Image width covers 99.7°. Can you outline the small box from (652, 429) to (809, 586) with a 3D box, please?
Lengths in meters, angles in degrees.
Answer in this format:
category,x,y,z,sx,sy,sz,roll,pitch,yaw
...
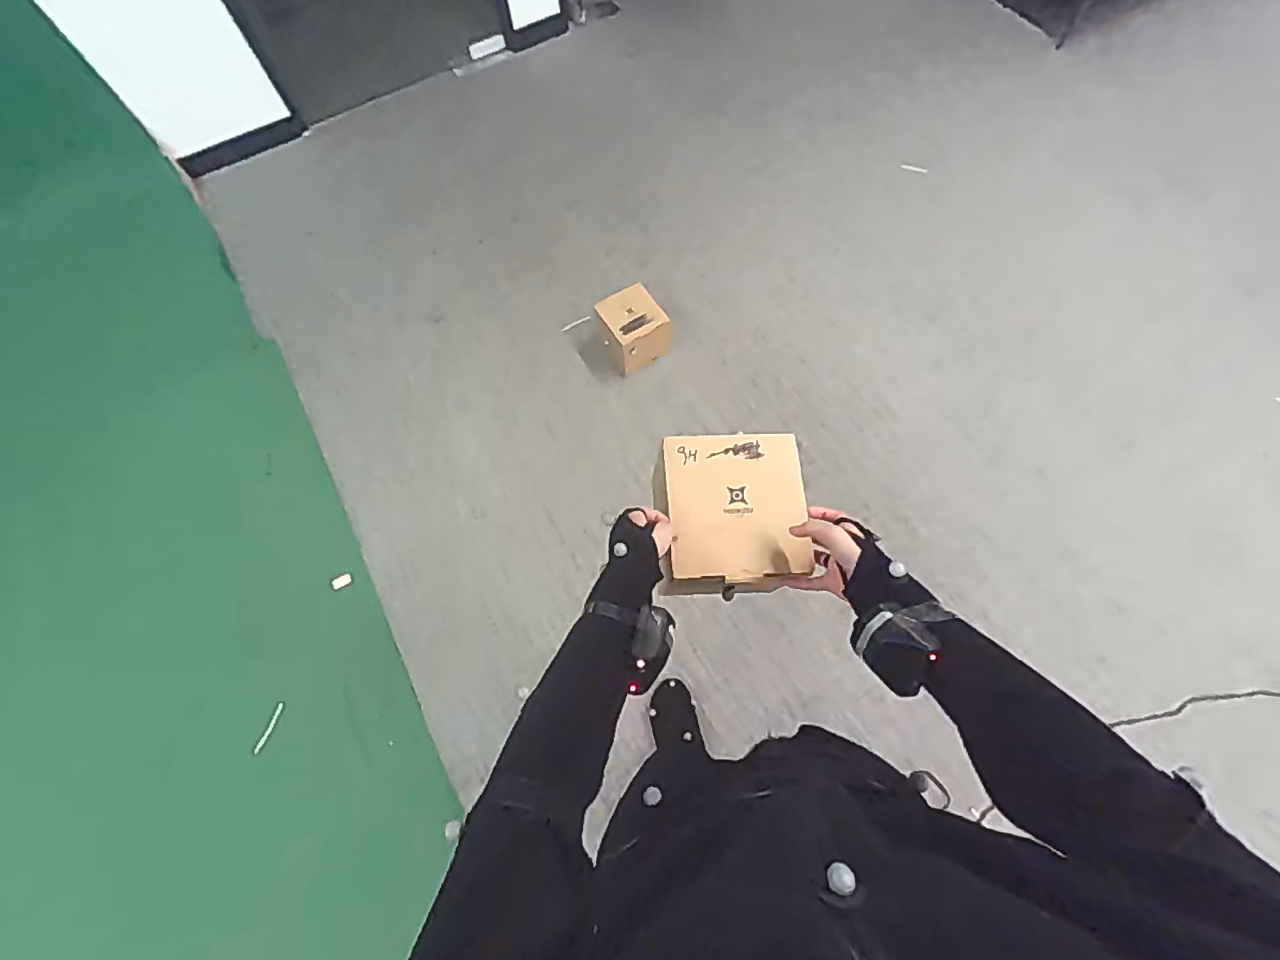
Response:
category,x,y,z,sx,sy,sz,roll,pitch,yaw
small box,0.105,0.044,0.704,0.168,0.176,0.179,-1,73,-4
